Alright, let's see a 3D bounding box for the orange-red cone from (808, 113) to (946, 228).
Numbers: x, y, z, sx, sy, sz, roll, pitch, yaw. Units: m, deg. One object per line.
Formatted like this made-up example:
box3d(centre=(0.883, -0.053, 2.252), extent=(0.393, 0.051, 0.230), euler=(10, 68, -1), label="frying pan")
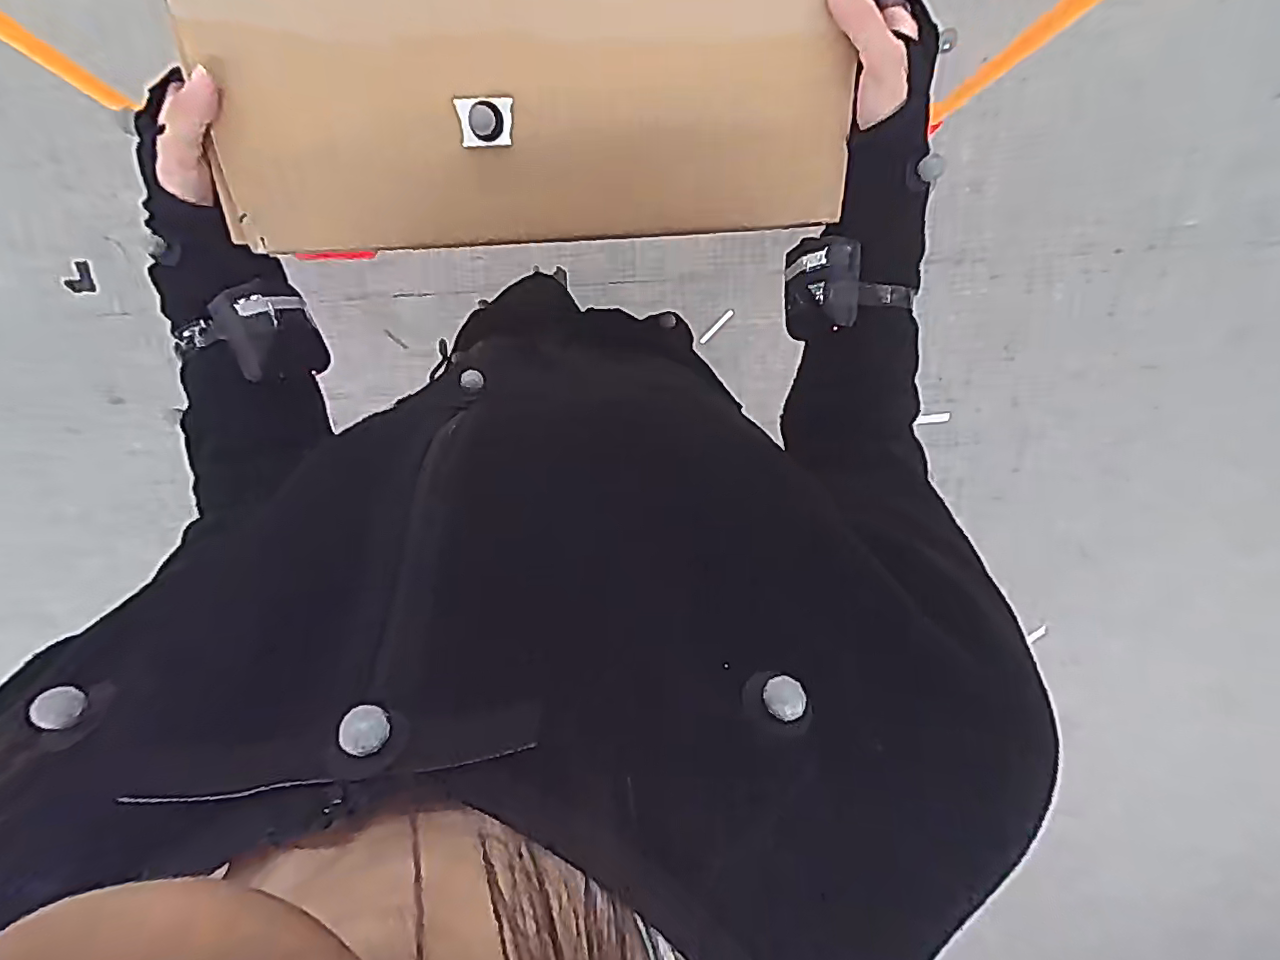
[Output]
box3d(centre=(0.495, -0.650, 1.080), extent=(0.199, 0.360, 0.198), euler=(-11, 106, 1), label="orange-red cone")
